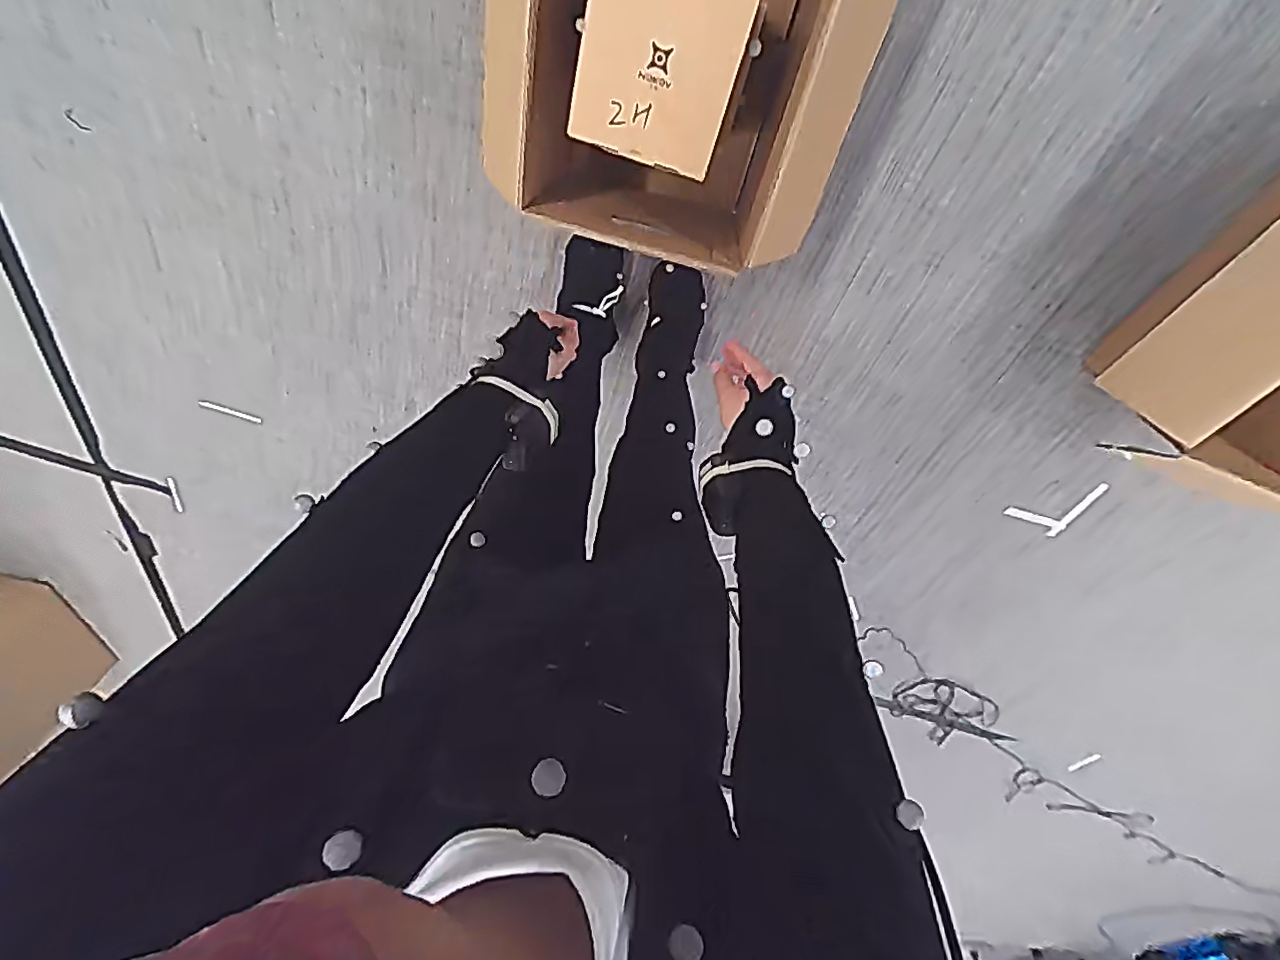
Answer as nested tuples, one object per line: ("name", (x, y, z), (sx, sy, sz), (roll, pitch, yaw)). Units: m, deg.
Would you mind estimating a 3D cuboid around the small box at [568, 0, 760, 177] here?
("small box", (0.026, -0.486, 0.626), (0.168, 0.176, 0.179), (16, 130, -5))
